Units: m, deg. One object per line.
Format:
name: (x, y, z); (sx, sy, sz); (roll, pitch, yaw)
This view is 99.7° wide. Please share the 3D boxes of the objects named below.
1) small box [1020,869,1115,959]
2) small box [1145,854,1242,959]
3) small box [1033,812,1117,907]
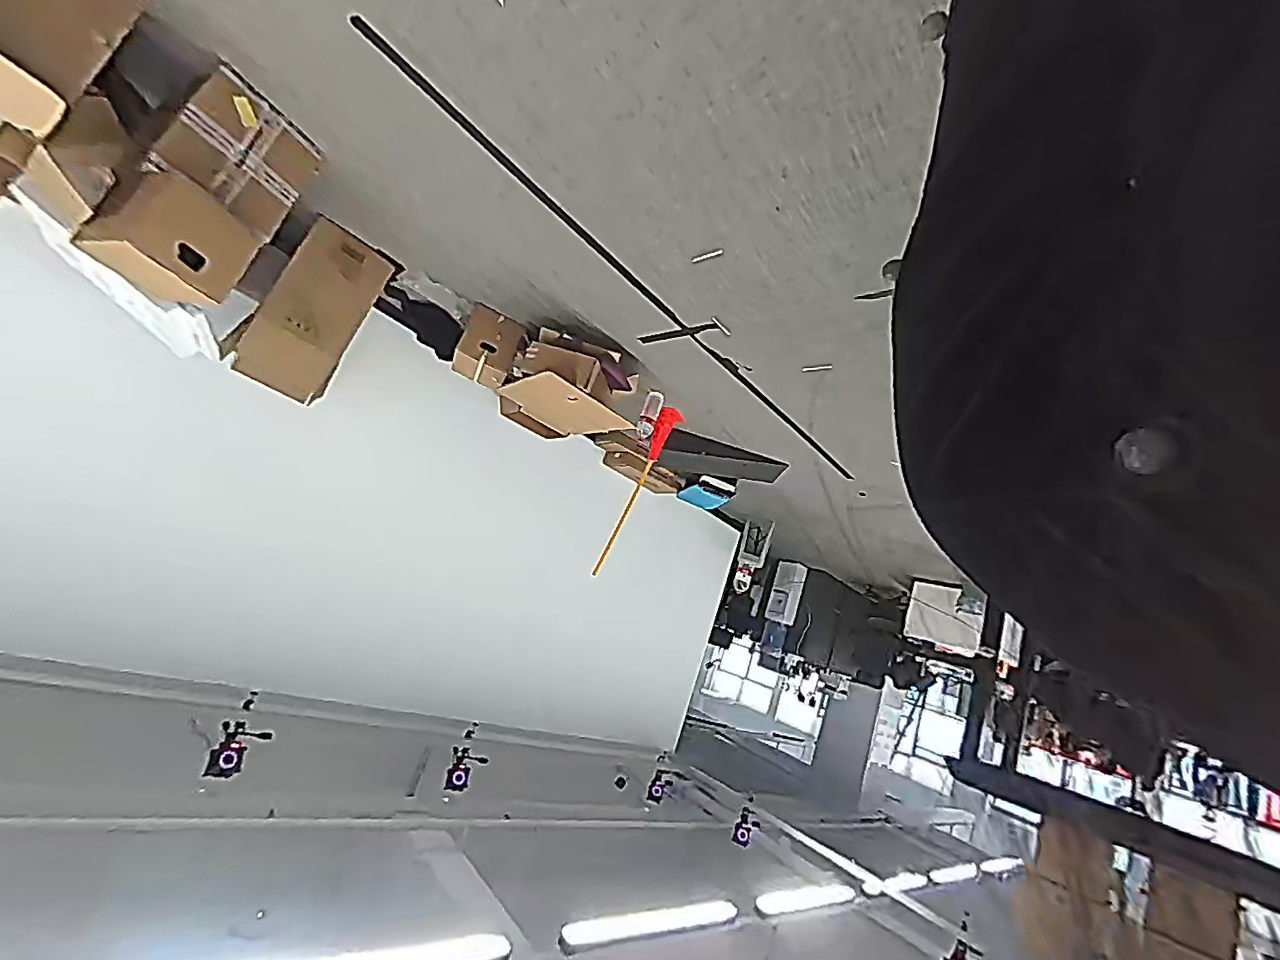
small box: (1.212, 1.246, 1.536); (0.168, 0.176, 0.179); (28, 165, -36)
small box: (1.436, 1.109, 1.408); (0.168, 0.176, 0.179); (6, 162, 45)
small box: (1.274, 1.097, 1.581); (0.168, 0.176, 0.179); (3, 160, 47)
